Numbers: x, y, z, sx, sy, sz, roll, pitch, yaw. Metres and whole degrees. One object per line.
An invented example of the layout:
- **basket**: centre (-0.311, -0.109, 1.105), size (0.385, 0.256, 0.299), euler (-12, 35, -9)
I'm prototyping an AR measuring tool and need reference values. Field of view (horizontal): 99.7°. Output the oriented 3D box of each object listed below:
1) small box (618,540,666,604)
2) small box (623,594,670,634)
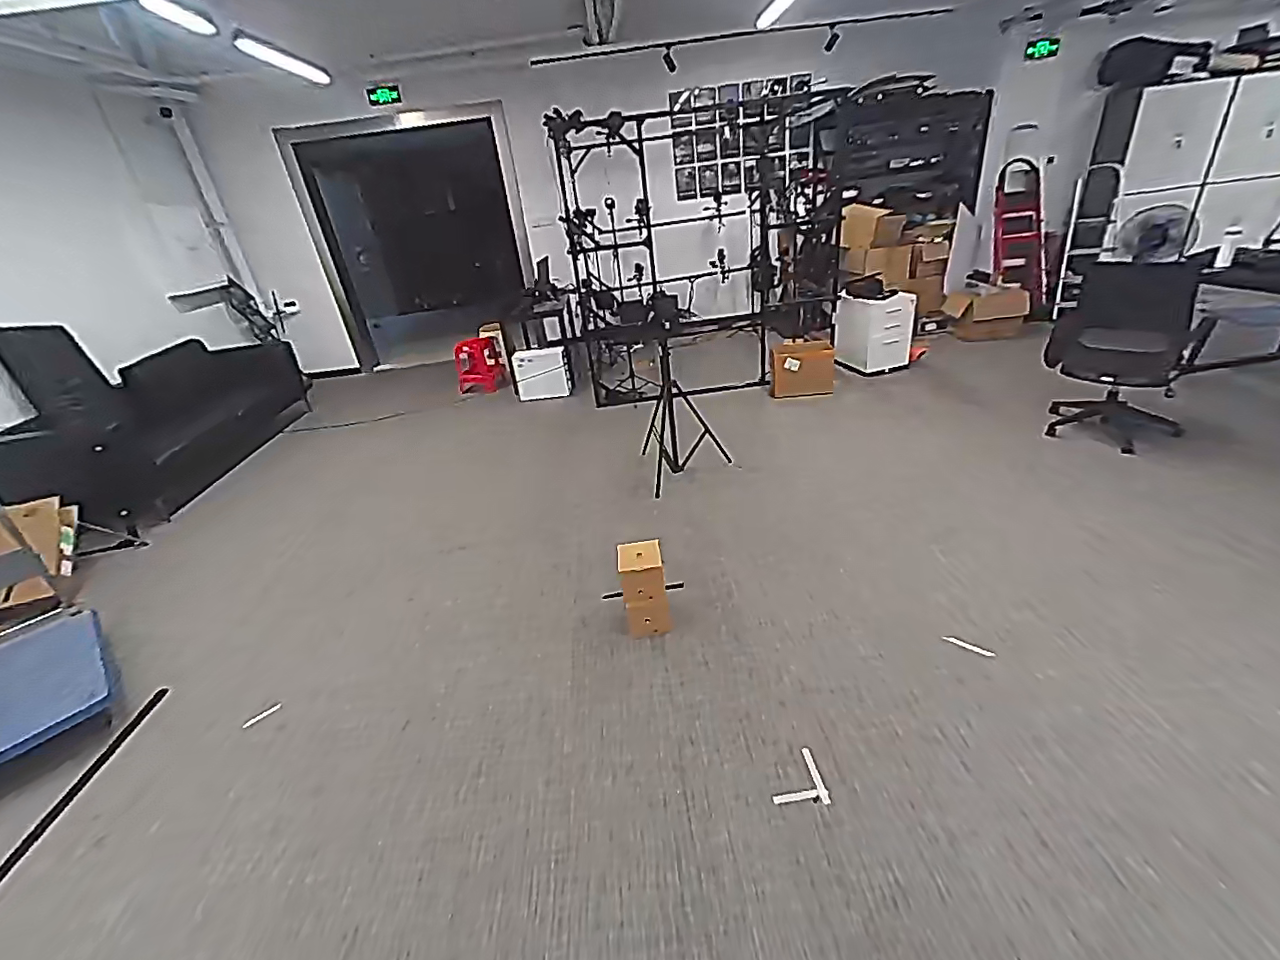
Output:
- **small box**: centre (0.007, 0.360, 2.124), size (0.168, 0.176, 0.179), euler (-8, 29, 0)
- **small box**: centre (0.024, 0.508, 2.192), size (0.168, 0.176, 0.179), euler (-9, 27, -2)
